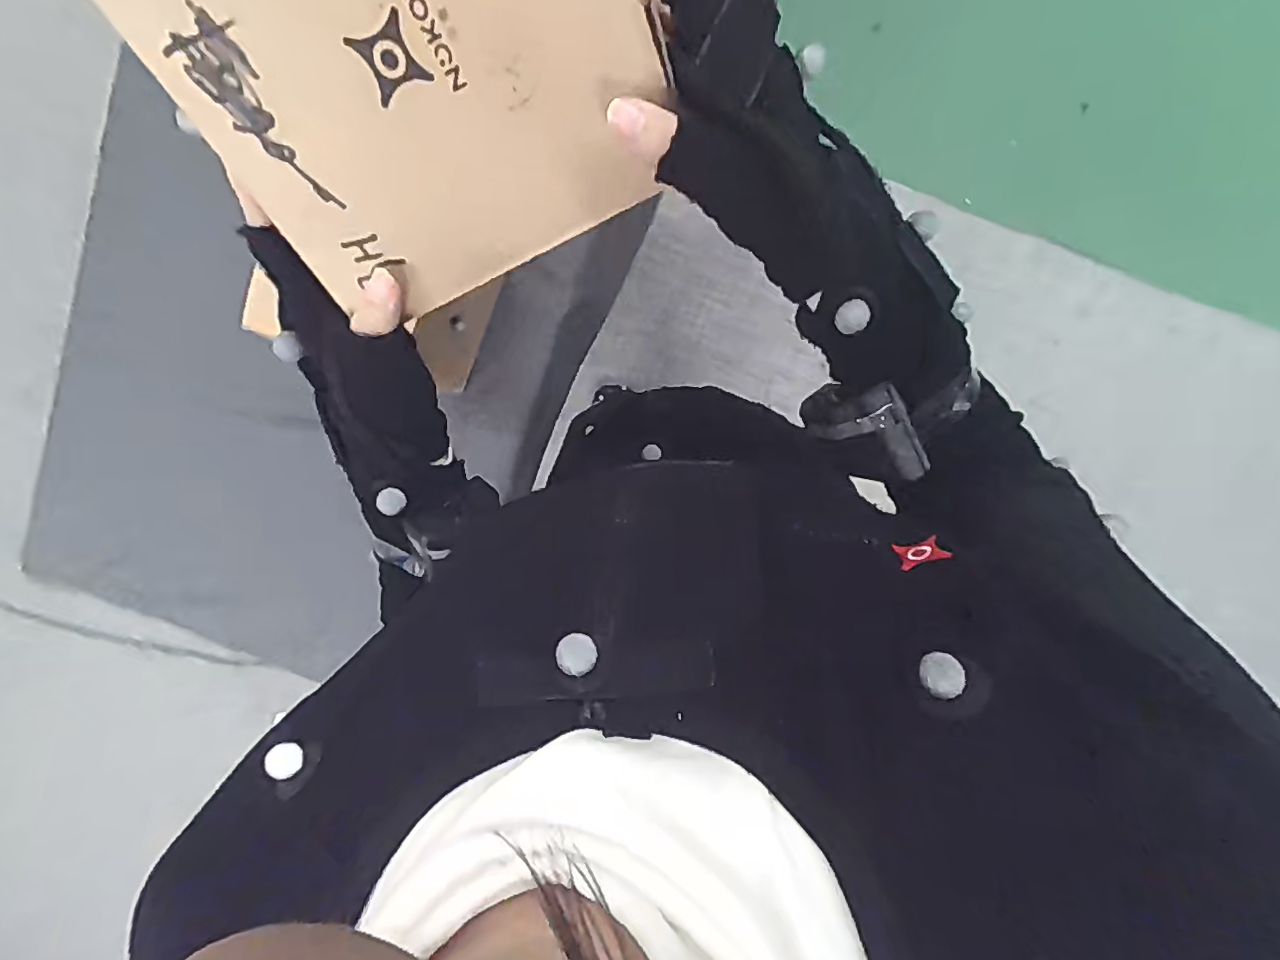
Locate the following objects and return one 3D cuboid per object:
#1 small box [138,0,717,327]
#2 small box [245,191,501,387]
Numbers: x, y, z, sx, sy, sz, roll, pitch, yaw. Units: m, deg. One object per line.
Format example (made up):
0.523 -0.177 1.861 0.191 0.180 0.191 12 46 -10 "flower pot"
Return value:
-0.084 -0.208 0.262 0.179 0.176 0.168 -22 126 7 "small box"
-0.268 -0.212 0.585 0.168 0.176 0.179 23 100 1 "small box"
